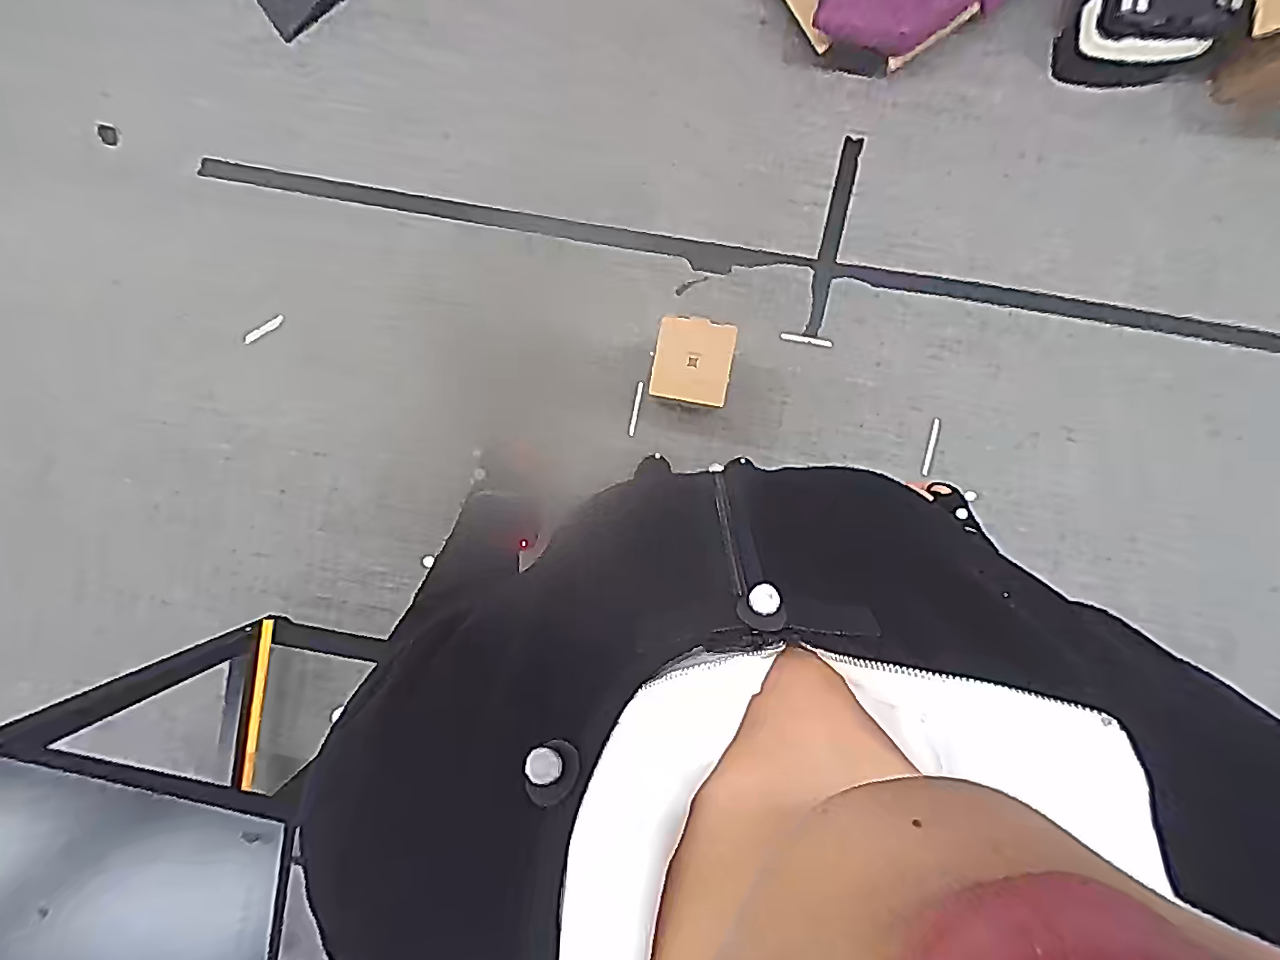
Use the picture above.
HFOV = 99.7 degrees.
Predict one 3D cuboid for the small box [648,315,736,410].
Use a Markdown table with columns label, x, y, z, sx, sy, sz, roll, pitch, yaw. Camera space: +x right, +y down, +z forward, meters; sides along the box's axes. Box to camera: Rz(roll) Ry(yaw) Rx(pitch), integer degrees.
| label | x | y | z | sx | sy | sz | roll | pitch | yaw |
| --- | --- | --- | --- | --- | --- | --- | --- | --- | --- |
| small box | 0.117 | -0.262 | 1.240 | 0.168 | 0.176 | 0.179 | 10 | 96 | 4 |
